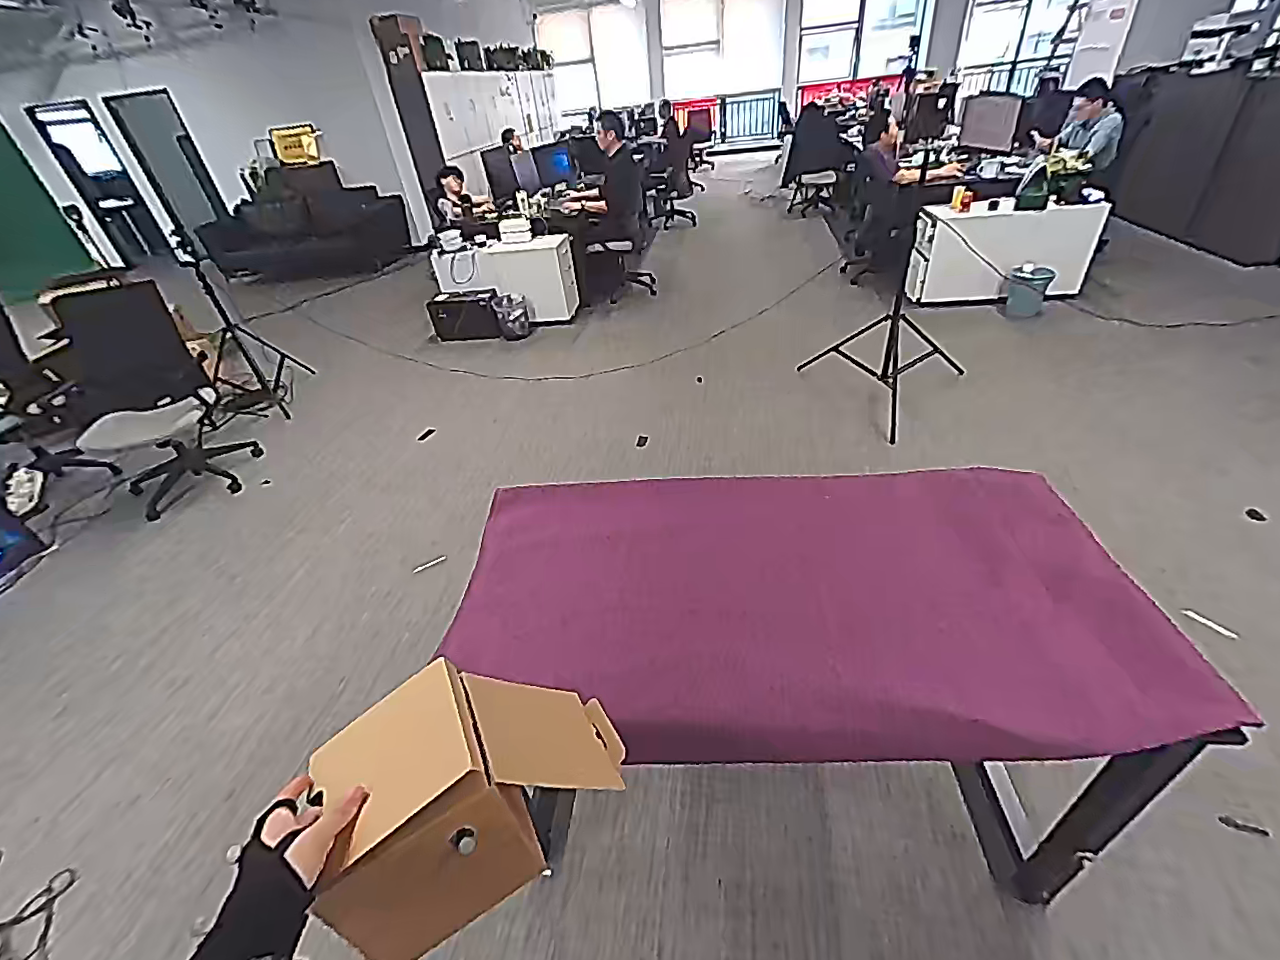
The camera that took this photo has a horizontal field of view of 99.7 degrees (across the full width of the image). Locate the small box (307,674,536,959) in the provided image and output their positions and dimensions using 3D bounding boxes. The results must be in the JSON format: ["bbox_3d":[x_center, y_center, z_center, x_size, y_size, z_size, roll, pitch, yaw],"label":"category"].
[{"bbox_3d":[-0.229,0.361,0.593,0.179,0.176,0.168,-26,30,-18],"label":"small box"}]
